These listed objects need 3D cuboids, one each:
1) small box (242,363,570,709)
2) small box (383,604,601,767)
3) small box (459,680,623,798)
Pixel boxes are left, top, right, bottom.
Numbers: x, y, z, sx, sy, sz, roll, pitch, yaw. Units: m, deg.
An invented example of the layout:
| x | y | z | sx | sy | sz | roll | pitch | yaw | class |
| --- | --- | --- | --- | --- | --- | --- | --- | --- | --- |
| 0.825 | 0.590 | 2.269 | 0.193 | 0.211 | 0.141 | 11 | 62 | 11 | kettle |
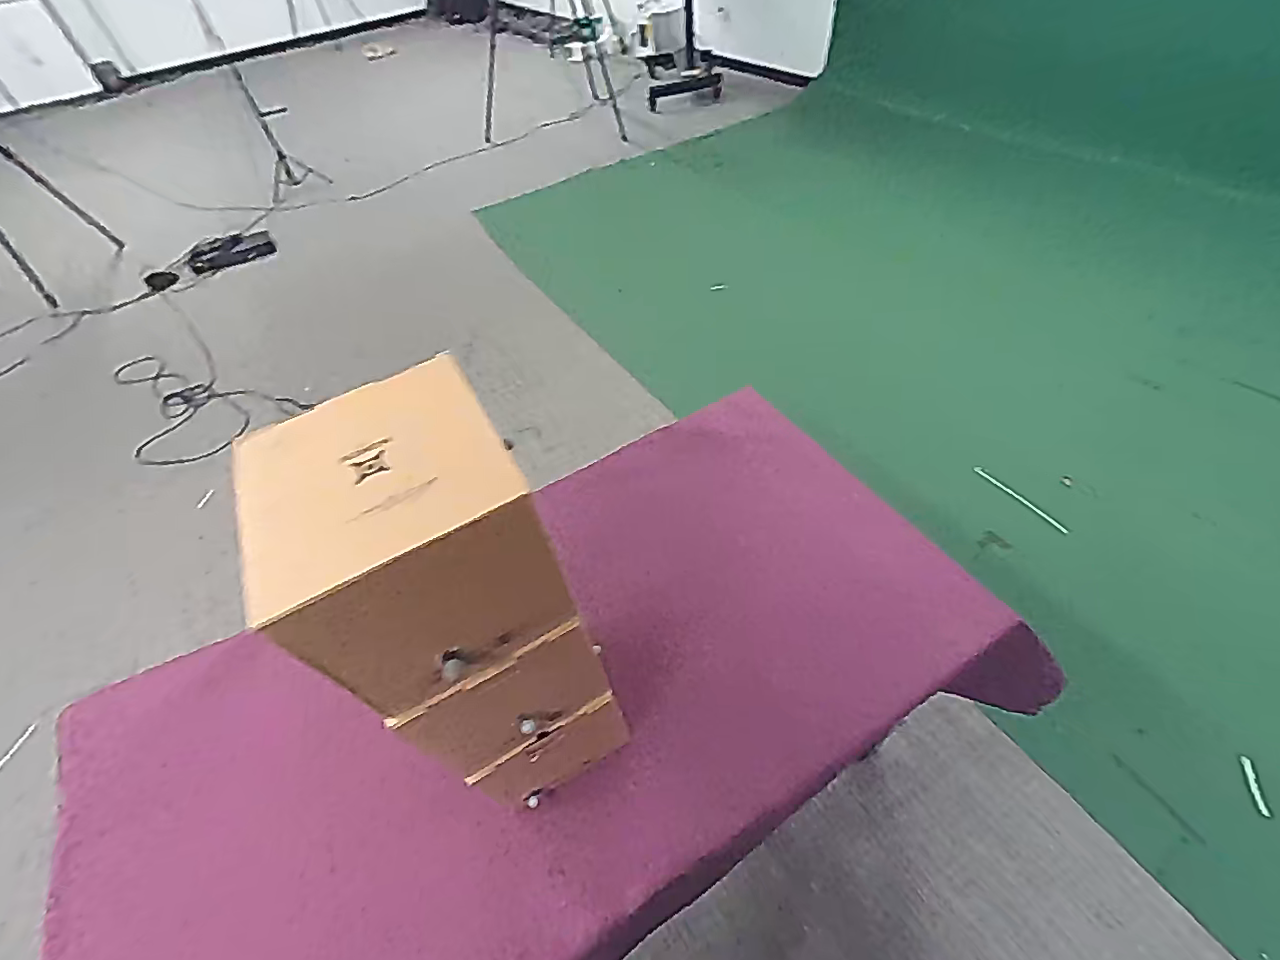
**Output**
| x | y | z | sx | sy | sz | roll | pitch | yaw | class |
| --- | --- | --- | --- | --- | --- | --- | --- | --- | --- |
| -0.174 | 0.044 | 0.427 | 0.168 | 0.176 | 0.179 | -27 | 52 | -15 | small box |
| -0.156 | 0.152 | 0.548 | 0.168 | 0.176 | 0.179 | -27 | 52 | -14 | small box |
| -0.135 | 0.263 | 0.668 | 0.168 | 0.176 | 0.179 | -26 | 51 | -15 | small box |
